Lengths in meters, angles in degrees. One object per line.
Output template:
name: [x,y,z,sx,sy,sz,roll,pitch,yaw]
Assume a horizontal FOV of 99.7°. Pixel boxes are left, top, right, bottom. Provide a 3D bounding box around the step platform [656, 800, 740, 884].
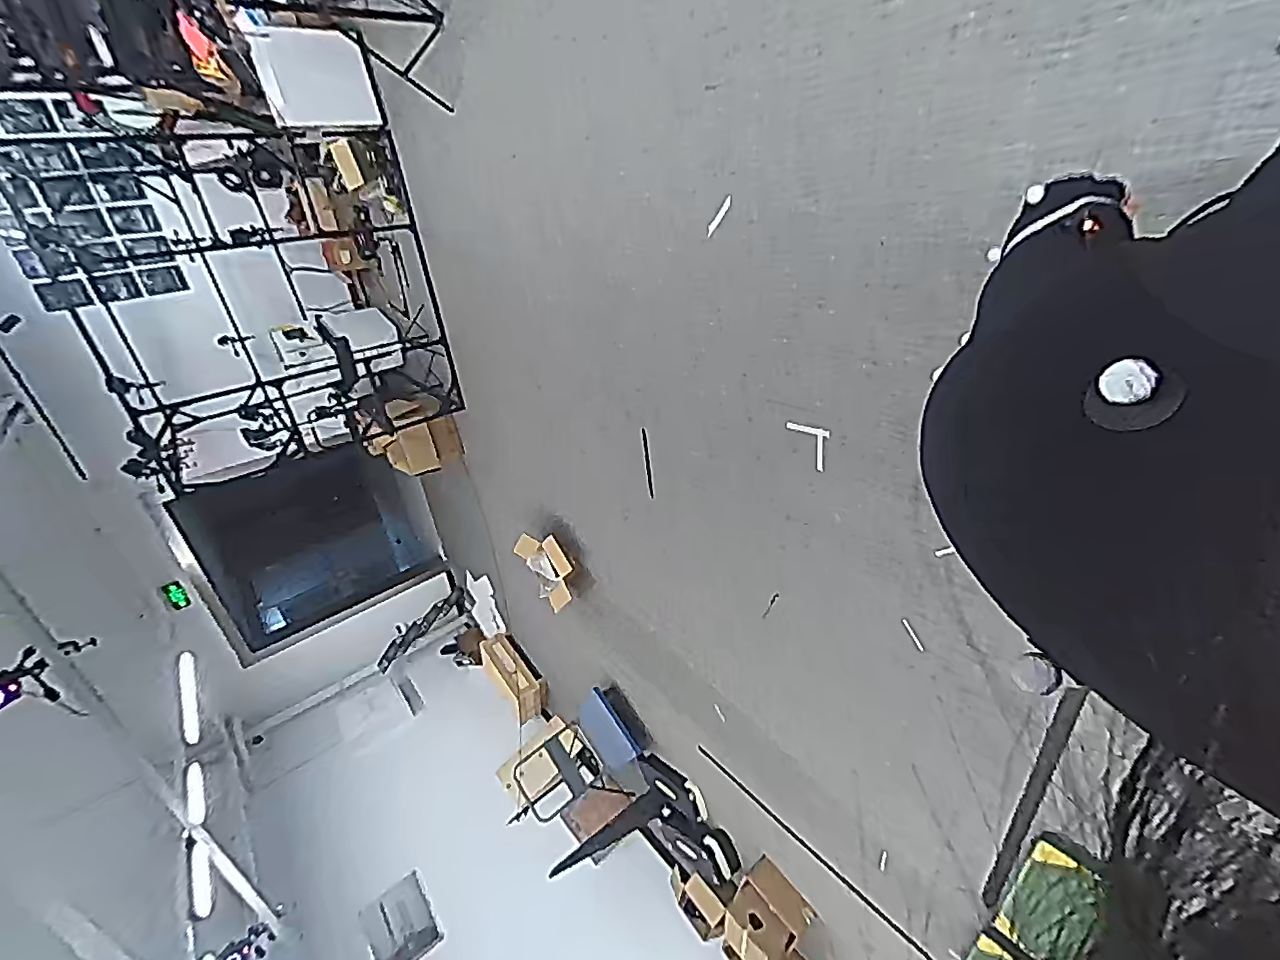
step platform: [0.395,2.595,3.895,0.684,0.204,0.286,-17,98,57]
